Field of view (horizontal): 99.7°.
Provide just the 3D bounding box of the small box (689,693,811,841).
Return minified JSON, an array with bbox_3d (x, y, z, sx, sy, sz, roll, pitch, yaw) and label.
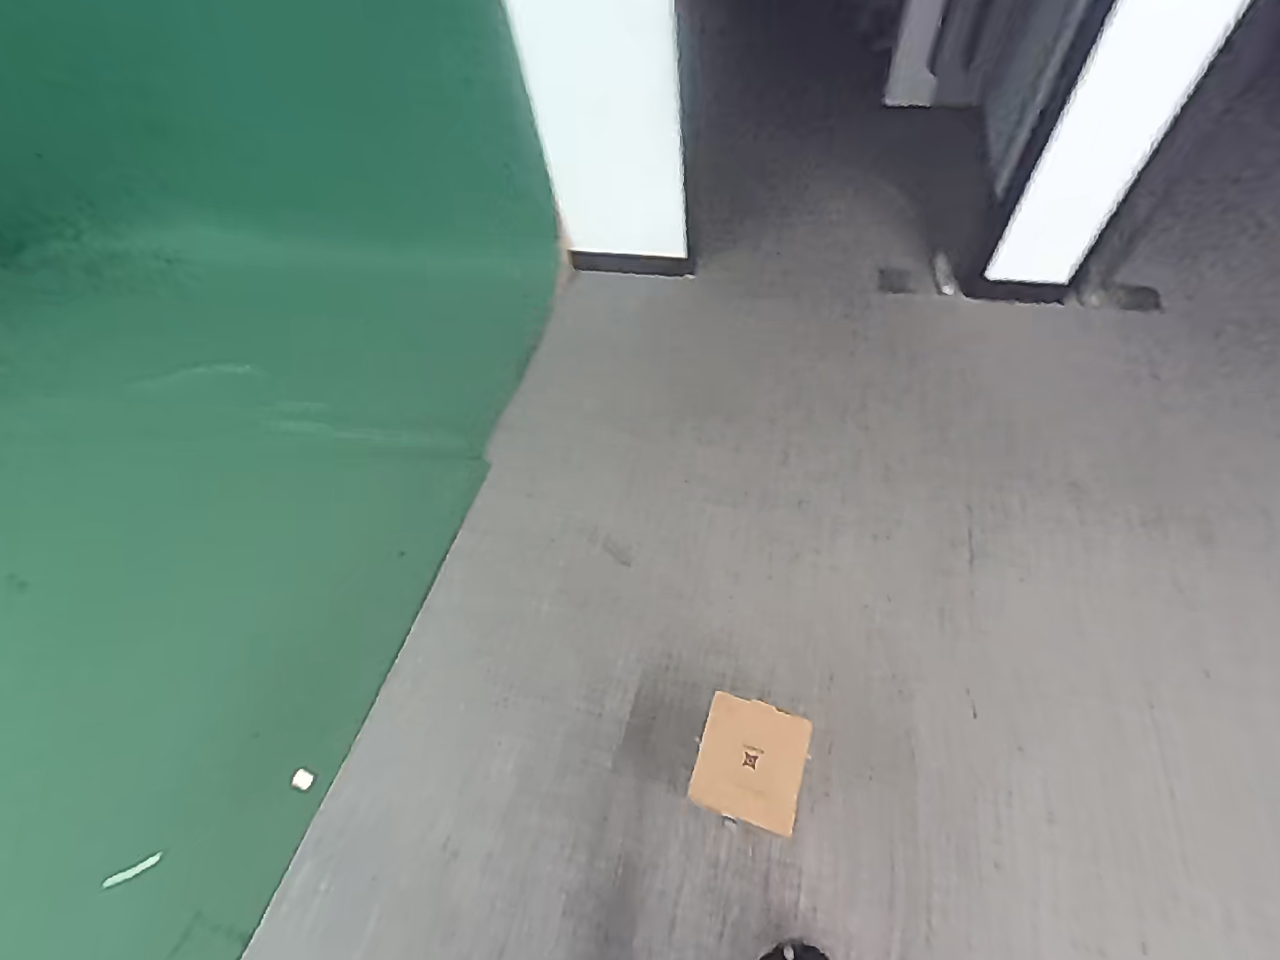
[{"bbox_3d":[0.191,0.499,0.941,0.168,0.176,0.179,12,60,18],"label":"small box"}]
